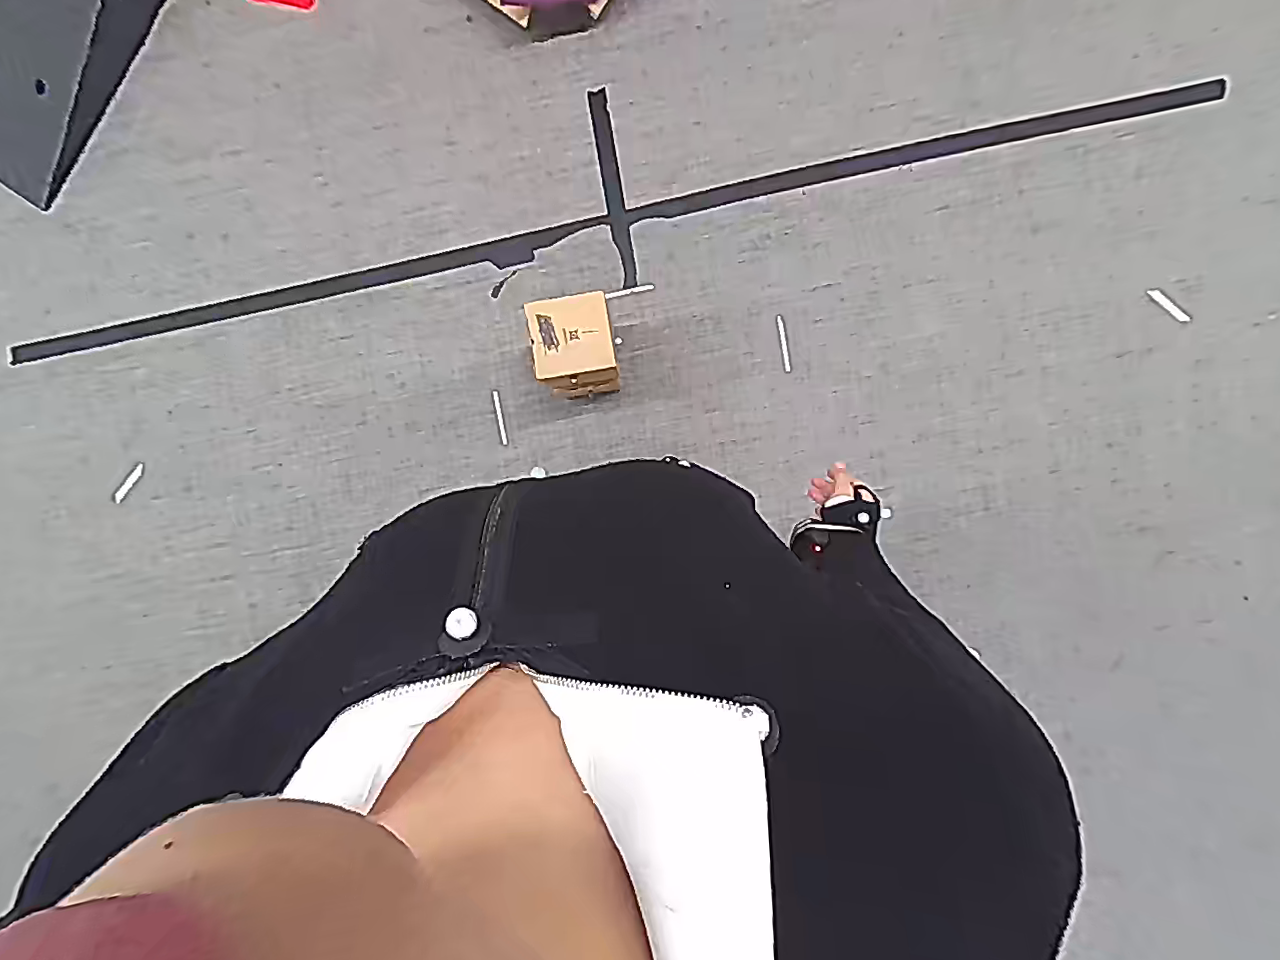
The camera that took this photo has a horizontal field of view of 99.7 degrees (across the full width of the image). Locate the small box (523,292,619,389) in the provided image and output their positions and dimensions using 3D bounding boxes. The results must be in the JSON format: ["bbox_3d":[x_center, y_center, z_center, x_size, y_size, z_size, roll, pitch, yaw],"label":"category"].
[{"bbox_3d":[-0.149,-0.308,1.226,0.179,0.176,0.168,-9,93,2],"label":"small box"}]

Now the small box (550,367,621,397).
[{"bbox_3d":[-0.146,-0.311,1.392,0.168,0.176,0.179,-9,94,2],"label":"small box"}]
